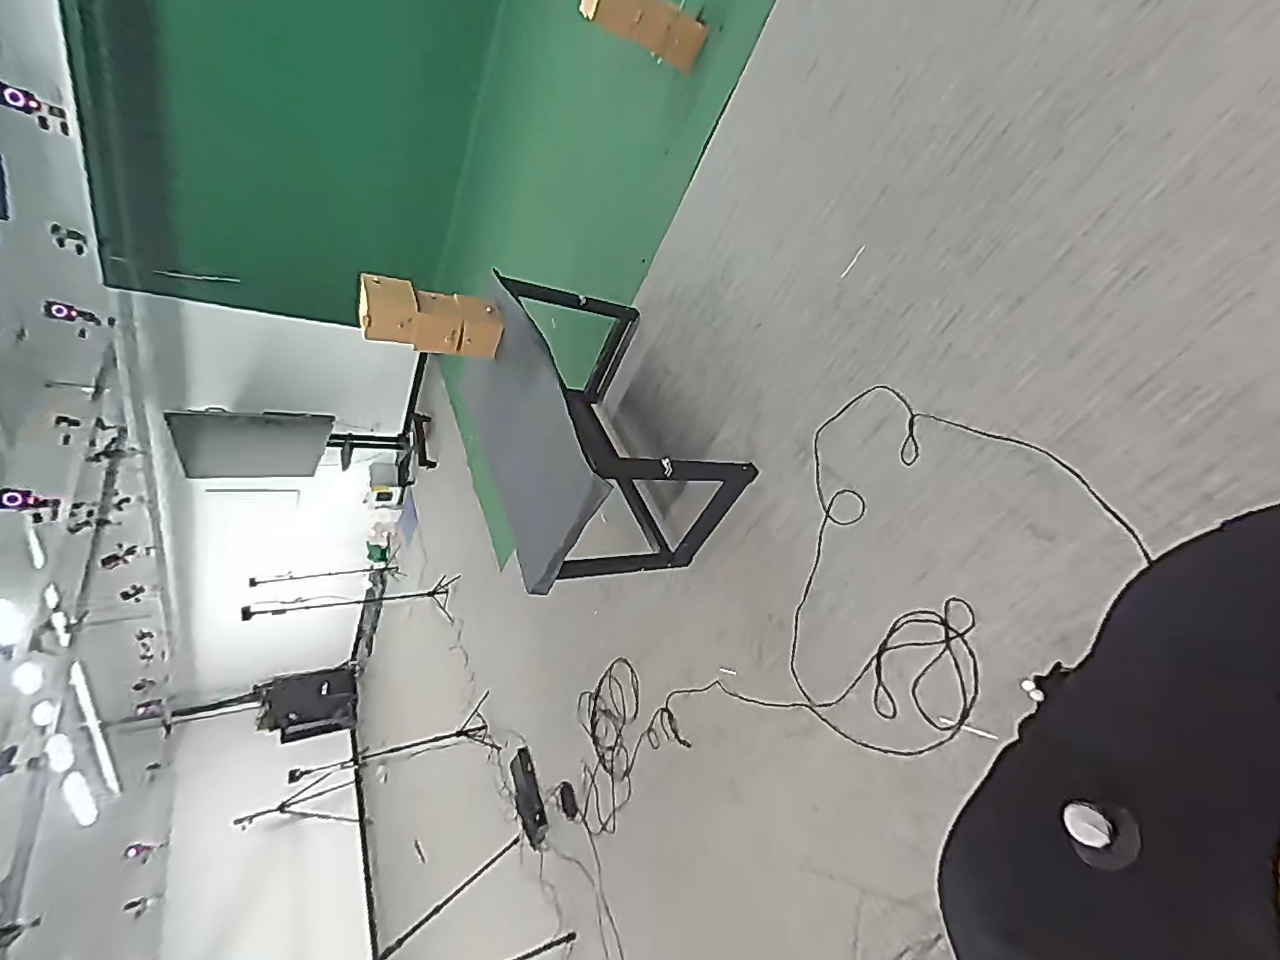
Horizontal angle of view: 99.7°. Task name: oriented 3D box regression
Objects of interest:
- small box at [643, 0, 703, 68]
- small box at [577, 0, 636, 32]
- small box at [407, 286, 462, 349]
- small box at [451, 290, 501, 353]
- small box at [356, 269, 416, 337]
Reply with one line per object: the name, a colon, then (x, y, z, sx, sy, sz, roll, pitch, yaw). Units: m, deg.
small box: (0.148, -1.928, 2.319, 0.179, 0.176, 0.168, -55, 48, 38)
small box: (-0.124, -1.923, 2.134, 0.179, 0.176, 0.168, -57, 47, 38)
small box: (-0.805, -0.623, 2.089, 0.179, 0.176, 0.168, 57, 136, 35)
small box: (-0.676, -0.634, 2.187, 0.179, 0.176, 0.168, -55, 49, 40)
small box: (-0.937, -0.643, 1.990, 0.179, 0.176, 0.168, 62, 139, 32)
